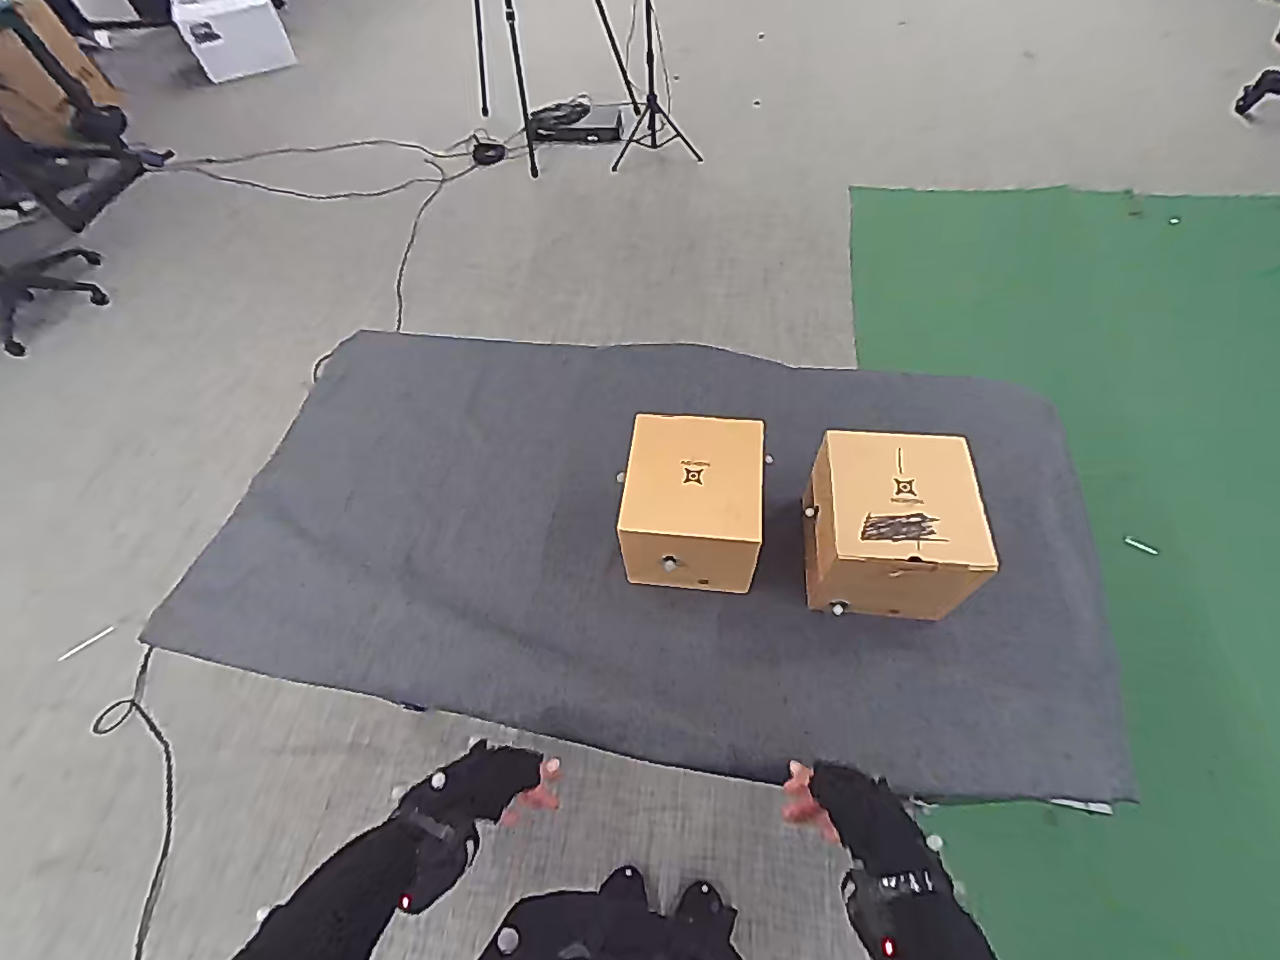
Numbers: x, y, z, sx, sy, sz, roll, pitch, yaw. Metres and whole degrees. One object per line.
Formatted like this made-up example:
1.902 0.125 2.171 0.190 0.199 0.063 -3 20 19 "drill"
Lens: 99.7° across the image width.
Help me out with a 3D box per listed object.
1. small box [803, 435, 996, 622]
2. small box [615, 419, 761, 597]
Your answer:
0.305 0.066 0.678 0.168 0.176 0.179 4 56 7 "small box"
0.068 0.042 0.715 0.168 0.176 0.179 4 56 7 "small box"
